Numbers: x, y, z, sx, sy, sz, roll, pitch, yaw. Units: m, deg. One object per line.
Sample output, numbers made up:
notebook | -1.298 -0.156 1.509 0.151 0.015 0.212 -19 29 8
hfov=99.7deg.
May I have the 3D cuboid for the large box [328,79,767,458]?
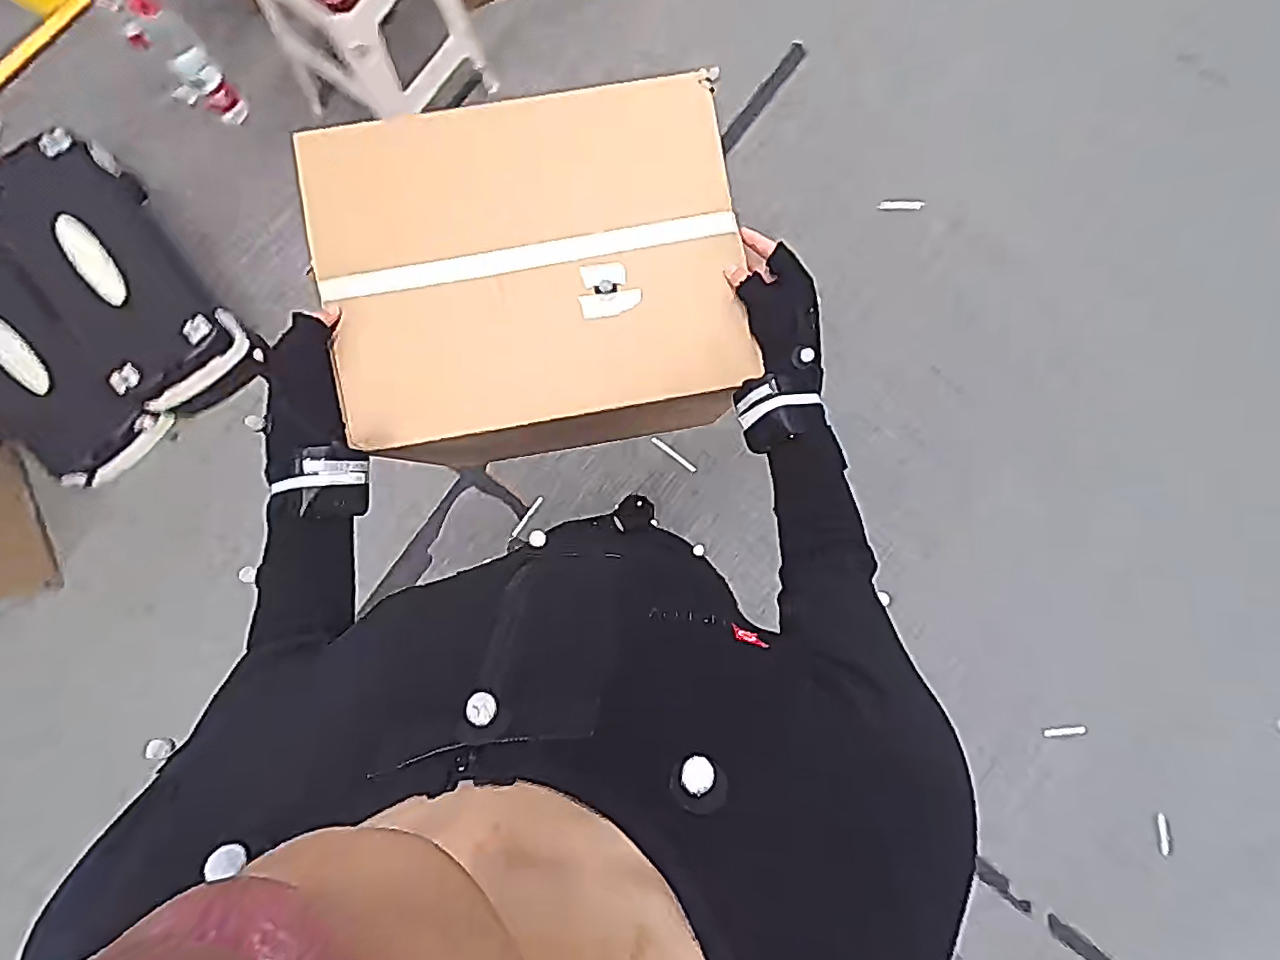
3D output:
large box | -0.097 -0.220 0.687 0.408 0.320 0.320 -9 90 -2
